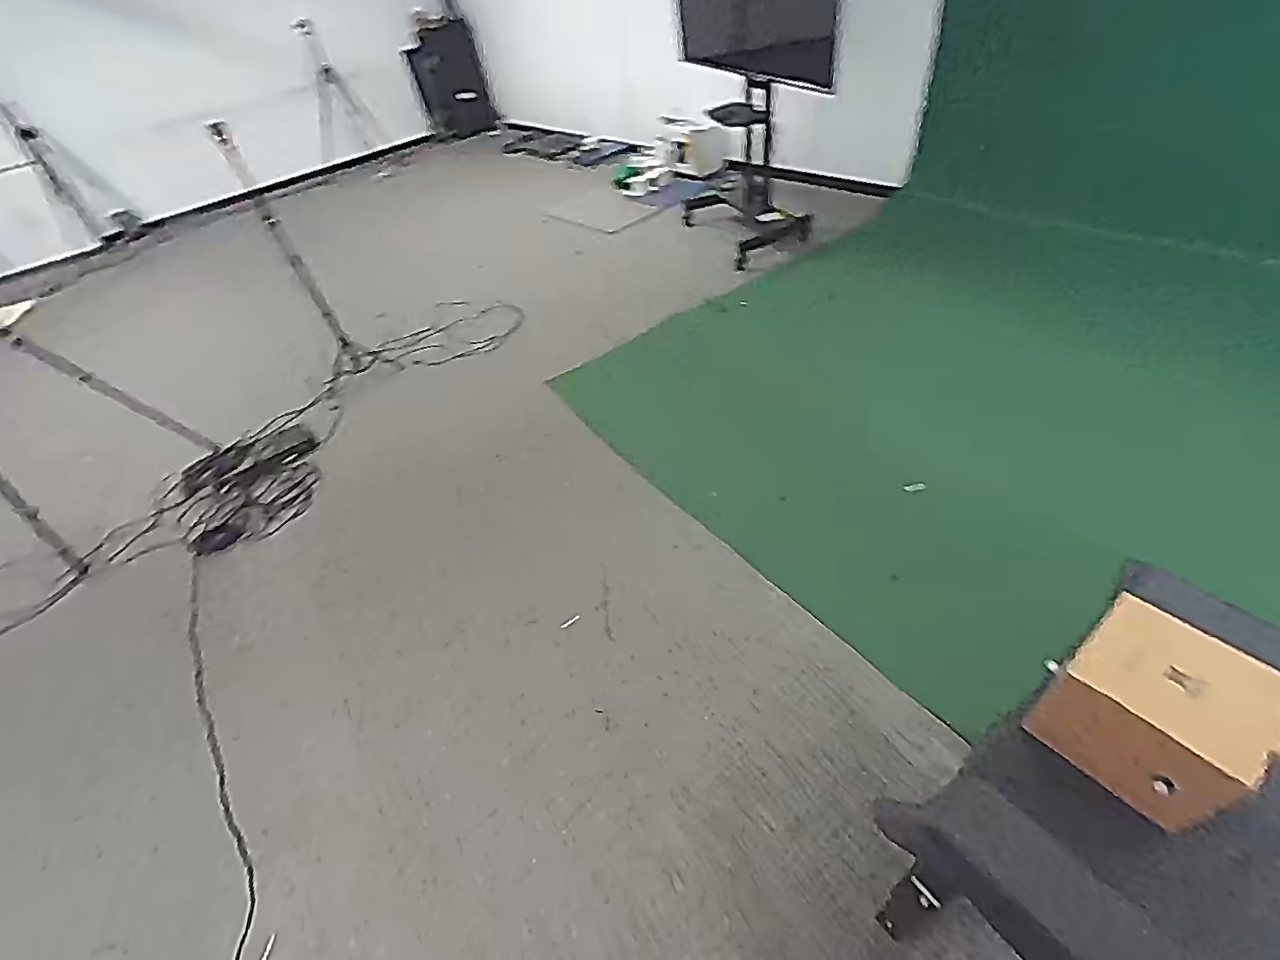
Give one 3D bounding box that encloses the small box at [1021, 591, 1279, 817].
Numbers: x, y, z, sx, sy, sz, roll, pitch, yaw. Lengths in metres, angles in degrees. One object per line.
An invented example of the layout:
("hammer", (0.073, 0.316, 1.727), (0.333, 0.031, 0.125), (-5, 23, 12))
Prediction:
("small box", (0.627, 0.281, 0.672), (0.168, 0.176, 0.179), (-34, 47, -23))
